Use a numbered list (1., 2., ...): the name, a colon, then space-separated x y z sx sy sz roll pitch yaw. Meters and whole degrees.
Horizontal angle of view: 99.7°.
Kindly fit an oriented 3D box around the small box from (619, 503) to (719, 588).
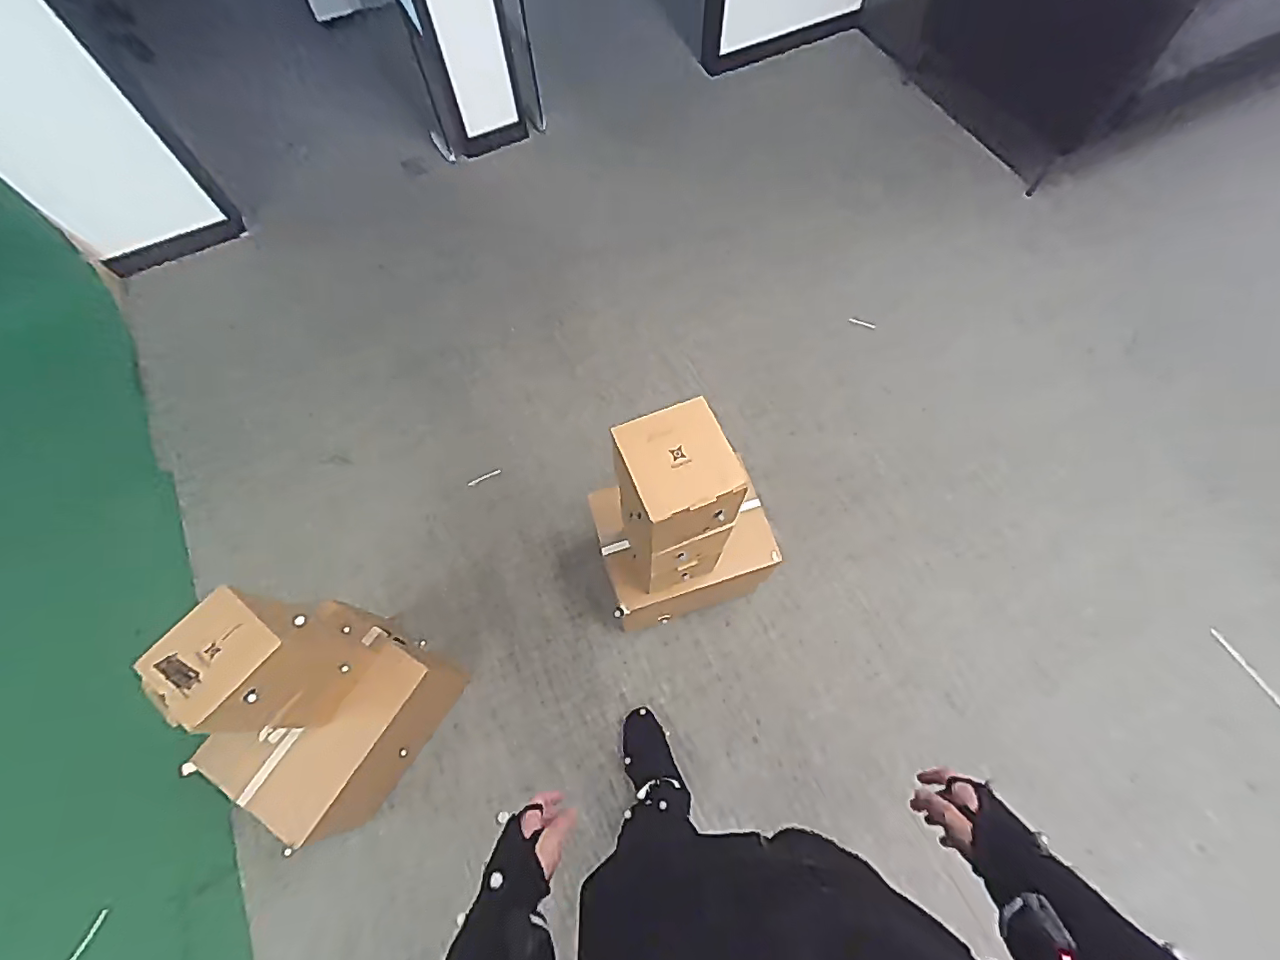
1. small box: 0.060 0.131 1.206 0.168 0.176 0.179 -19 69 -8

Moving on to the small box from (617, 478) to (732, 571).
1. small box: 0.063 0.066 1.057 0.168 0.176 0.179 -20 67 -8

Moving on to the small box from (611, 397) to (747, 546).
1. small box: 0.059 -0.003 0.909 0.168 0.176 0.179 -20 67 -9

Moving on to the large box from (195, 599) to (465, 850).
1. large box: -0.695 0.555 1.290 0.320 0.320 0.408 29 71 13

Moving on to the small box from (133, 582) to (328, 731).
1. small box: -0.701 0.313 0.948 0.168 0.176 0.179 36 71 15
